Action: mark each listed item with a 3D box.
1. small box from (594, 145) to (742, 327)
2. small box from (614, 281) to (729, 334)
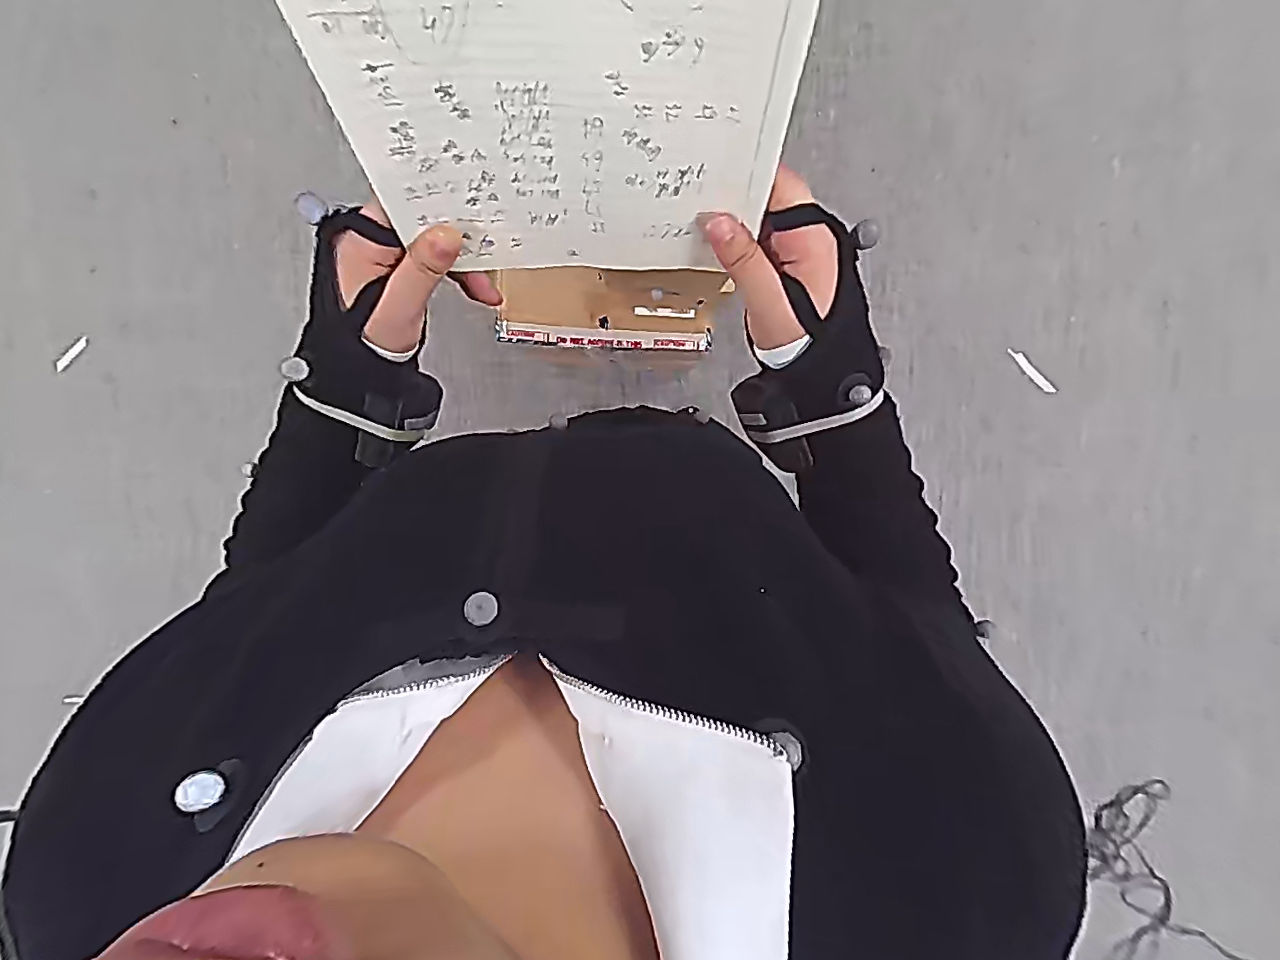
[{"bbox_3d":[0.030,-0.313,0.729,0.168,0.176,0.179,5,99,-2],"label":"small box"},{"bbox_3d":[0.047,-0.337,0.892,0.179,0.176,0.168,1,97,0],"label":"small box"}]
